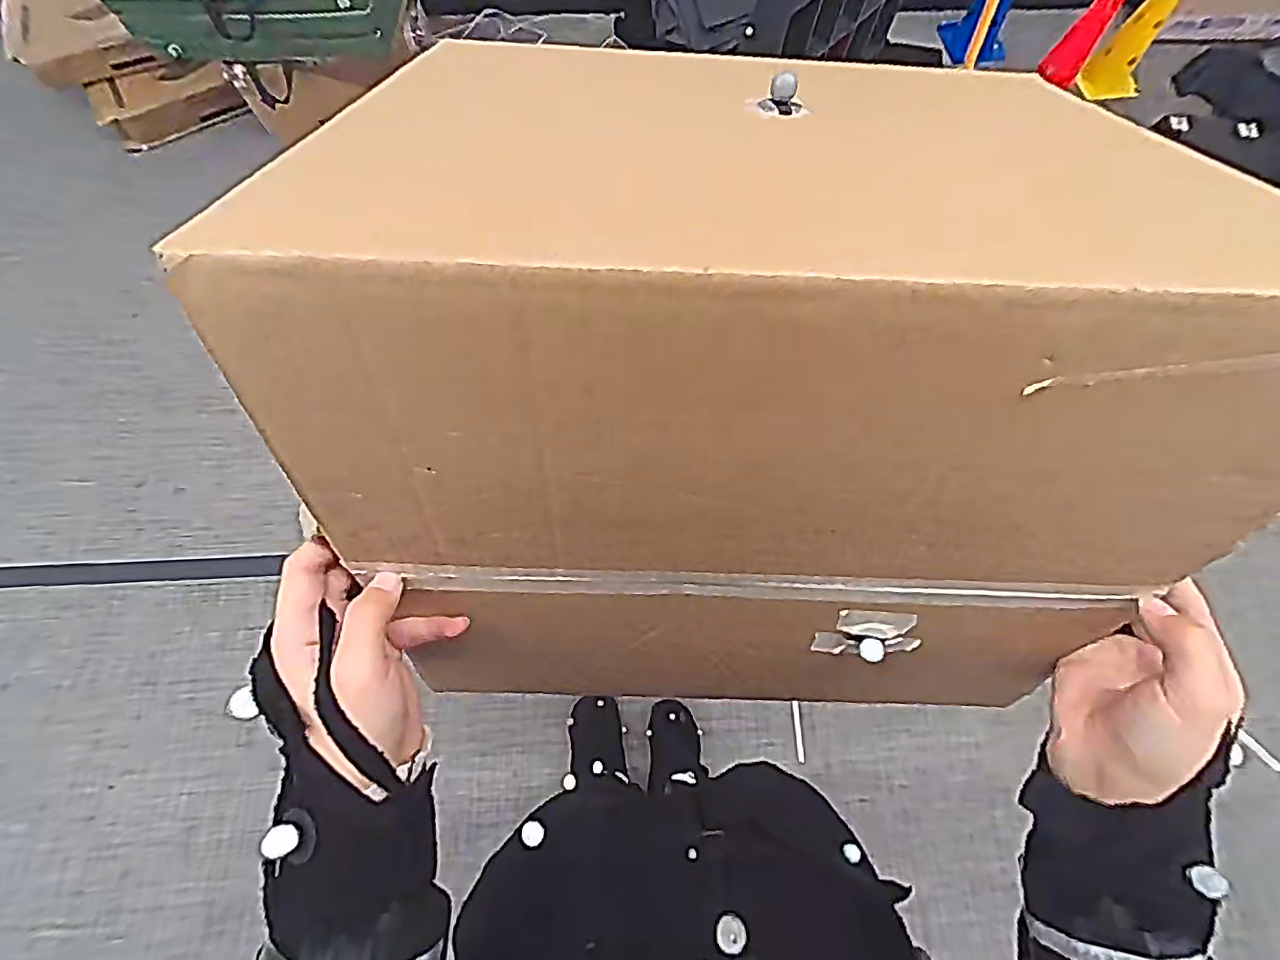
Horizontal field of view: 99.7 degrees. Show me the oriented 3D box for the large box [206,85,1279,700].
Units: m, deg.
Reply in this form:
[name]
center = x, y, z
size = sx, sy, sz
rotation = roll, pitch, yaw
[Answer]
[large box]
center = 0.056, -0.058, 0.378
size = 0.408, 0.320, 0.320
rotation = 1, 48, -1
